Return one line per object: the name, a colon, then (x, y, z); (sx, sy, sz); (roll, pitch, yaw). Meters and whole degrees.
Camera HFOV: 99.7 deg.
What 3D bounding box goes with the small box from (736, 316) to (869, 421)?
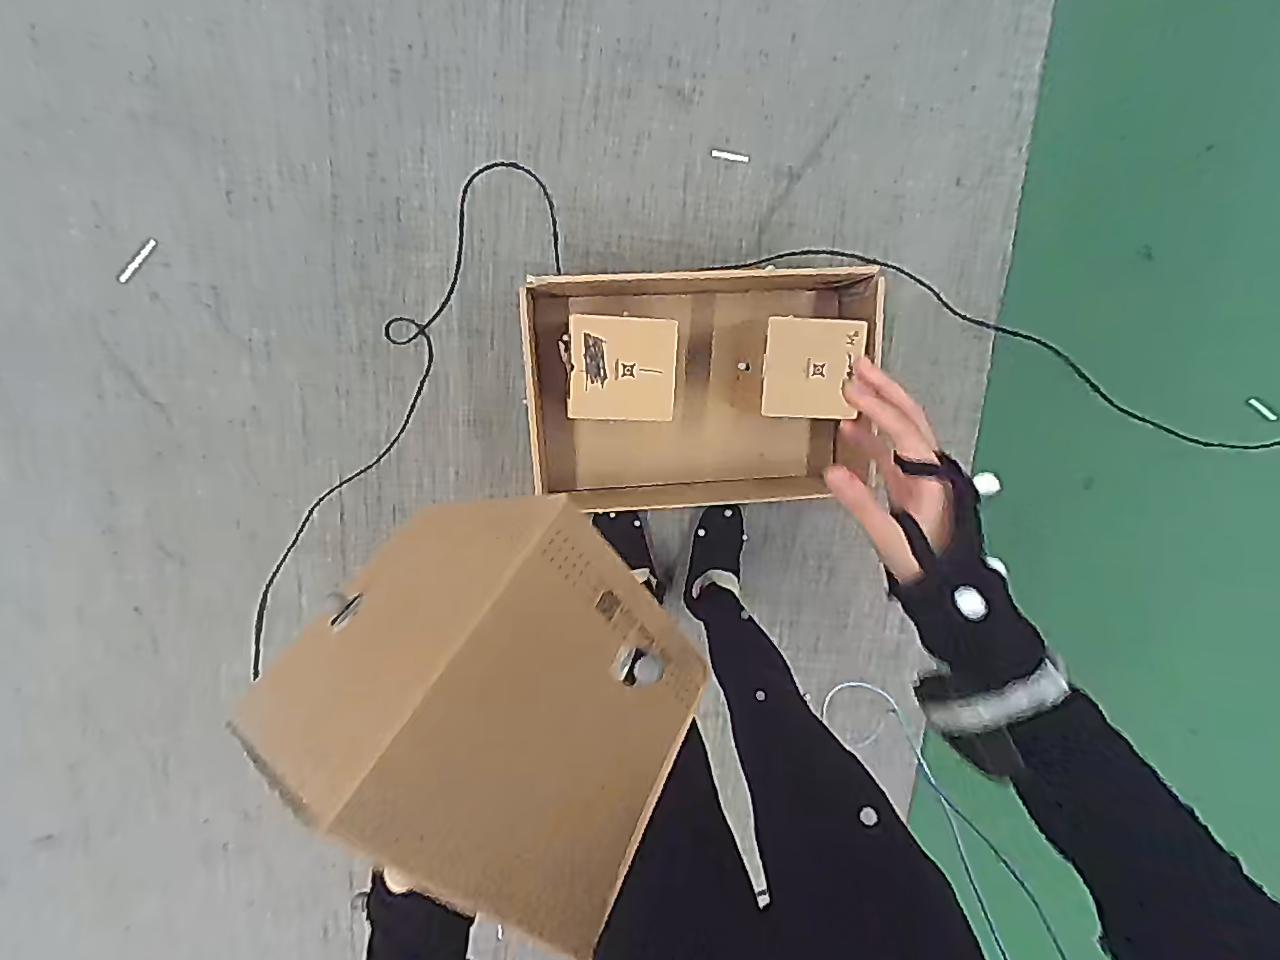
small box: (0.283, -0.200, 0.983); (0.179, 0.176, 0.168); (2, 101, -6)
